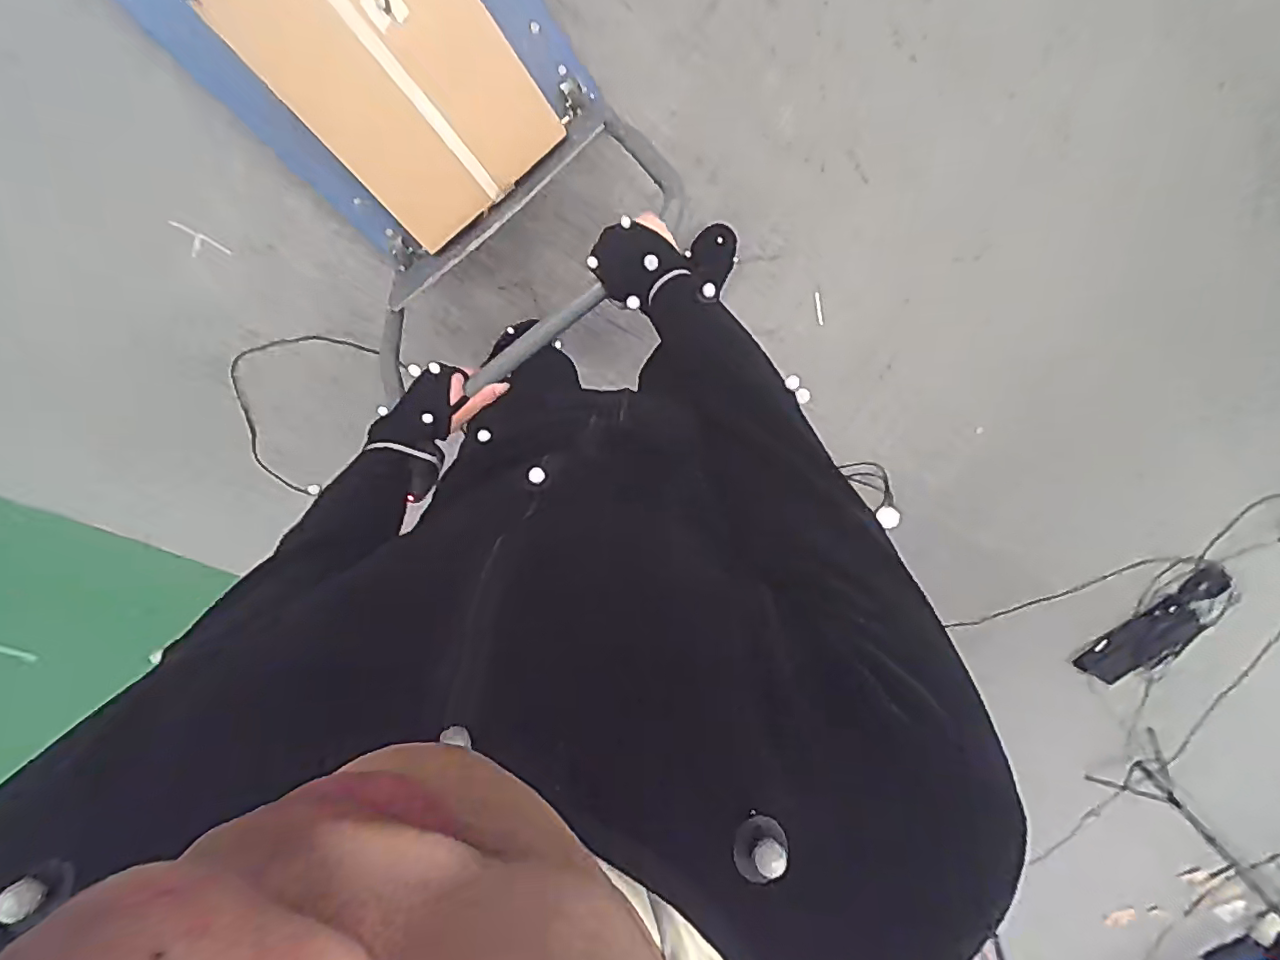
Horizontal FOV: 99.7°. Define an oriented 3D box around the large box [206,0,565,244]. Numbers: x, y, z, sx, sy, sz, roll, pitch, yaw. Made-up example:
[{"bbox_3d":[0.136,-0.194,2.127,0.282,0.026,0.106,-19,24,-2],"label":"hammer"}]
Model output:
[{"bbox_3d":[-0.381,-0.701,0.922,0.320,0.320,0.408,-34,129,13],"label":"large box"}]
